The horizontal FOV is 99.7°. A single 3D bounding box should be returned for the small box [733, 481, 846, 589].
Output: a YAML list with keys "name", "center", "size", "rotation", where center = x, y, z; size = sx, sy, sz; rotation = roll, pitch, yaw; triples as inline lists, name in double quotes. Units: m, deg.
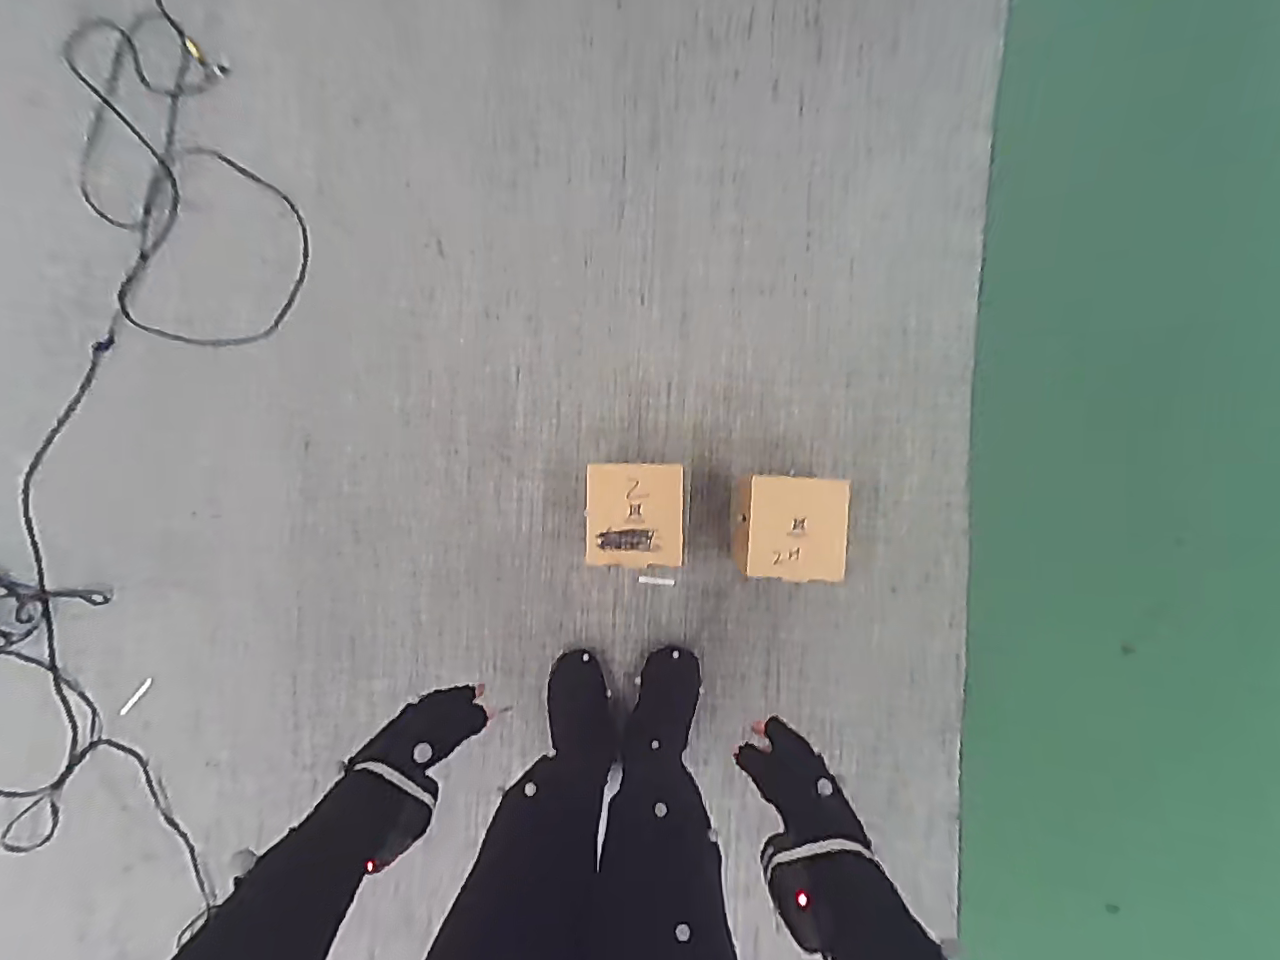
- name: "small box"
  center: [0.269, 0.096, 1.006]
  size: [0.168, 0.176, 0.179]
  rotation: [4, 89, 3]
